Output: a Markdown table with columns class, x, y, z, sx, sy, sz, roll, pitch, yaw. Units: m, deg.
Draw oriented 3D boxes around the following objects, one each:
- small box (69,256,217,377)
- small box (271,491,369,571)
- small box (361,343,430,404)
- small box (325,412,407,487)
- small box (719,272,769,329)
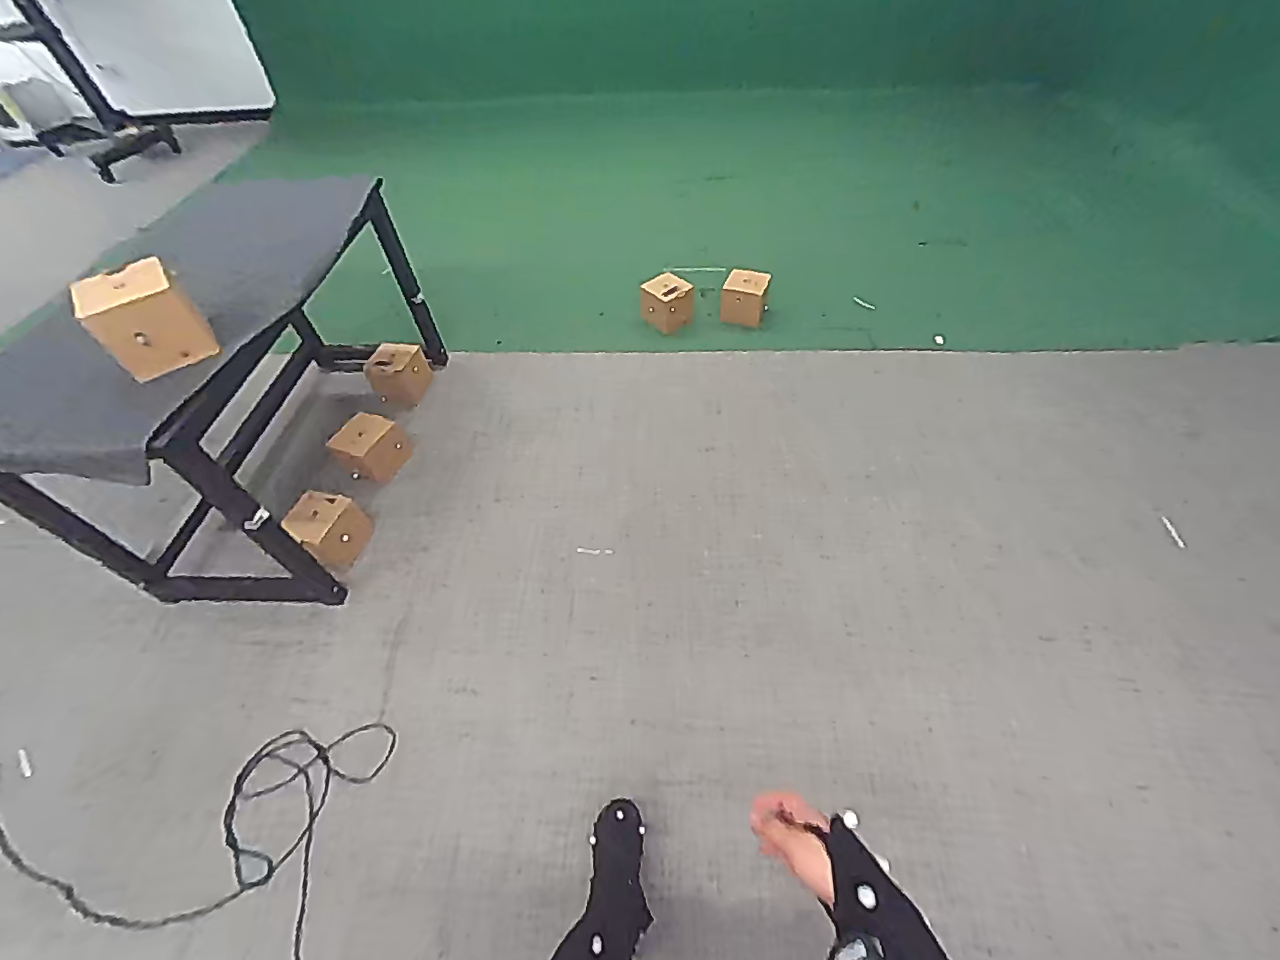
| class | x | y | z | sx | sy | sz | roll | pitch | yaw |
| --- | --- | --- | --- | --- | --- | --- | --- | --- | --- |
| small box | -1.063 | -0.347 | 1.169 | 0.168 | 0.176 | 0.179 | -33 | 56 | -22 |
| small box | -0.986 | 0.162 | 1.689 | 0.168 | 0.176 | 0.179 | 11 | 53 | 11 |
| small box | -0.968 | -0.423 | 2.161 | 0.168 | 0.176 | 0.179 | 5 | 51 | 7 |
| small box | -0.953 | -0.107 | 1.905 | 0.168 | 0.176 | 0.179 | 17 | 55 | 17 |
| small box | 0.454 | -0.788 | 2.377 | 0.179 | 0.176 | 0.168 | 17 | 54 | 15 |
